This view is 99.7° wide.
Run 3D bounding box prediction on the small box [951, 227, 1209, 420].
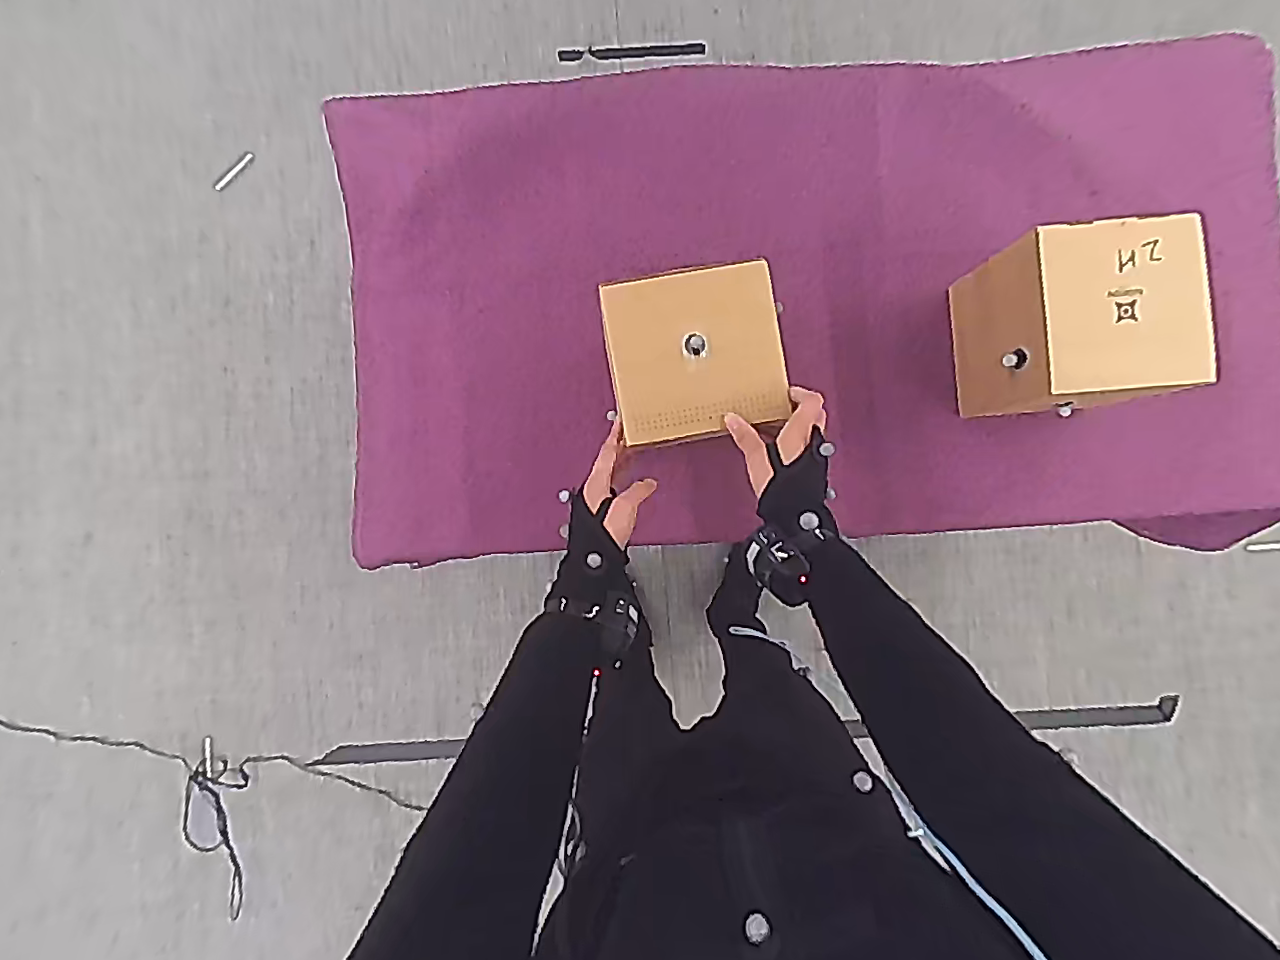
[{"bbox_3d":[0.491,-0.165,0.630,0.168,0.176,0.179,-4,88,1],"label":"small box"}]
